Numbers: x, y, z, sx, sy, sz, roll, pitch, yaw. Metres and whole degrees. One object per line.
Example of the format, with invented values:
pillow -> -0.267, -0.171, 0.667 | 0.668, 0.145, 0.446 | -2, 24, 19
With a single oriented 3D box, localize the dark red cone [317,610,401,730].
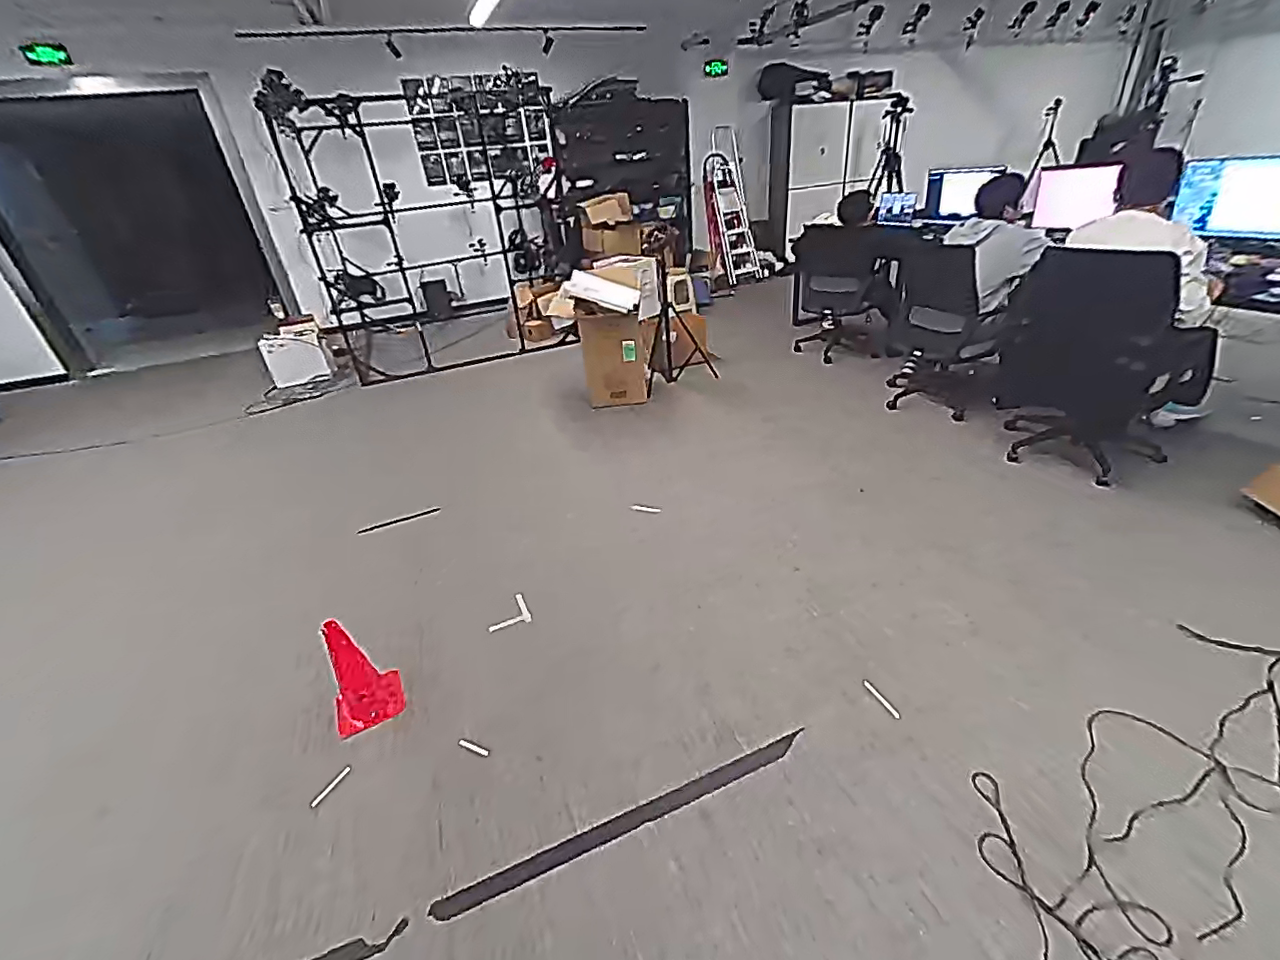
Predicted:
dark red cone -> -0.895, 0.552, 1.650 | 0.202, 0.394, 0.201 | -21, 34, -23
